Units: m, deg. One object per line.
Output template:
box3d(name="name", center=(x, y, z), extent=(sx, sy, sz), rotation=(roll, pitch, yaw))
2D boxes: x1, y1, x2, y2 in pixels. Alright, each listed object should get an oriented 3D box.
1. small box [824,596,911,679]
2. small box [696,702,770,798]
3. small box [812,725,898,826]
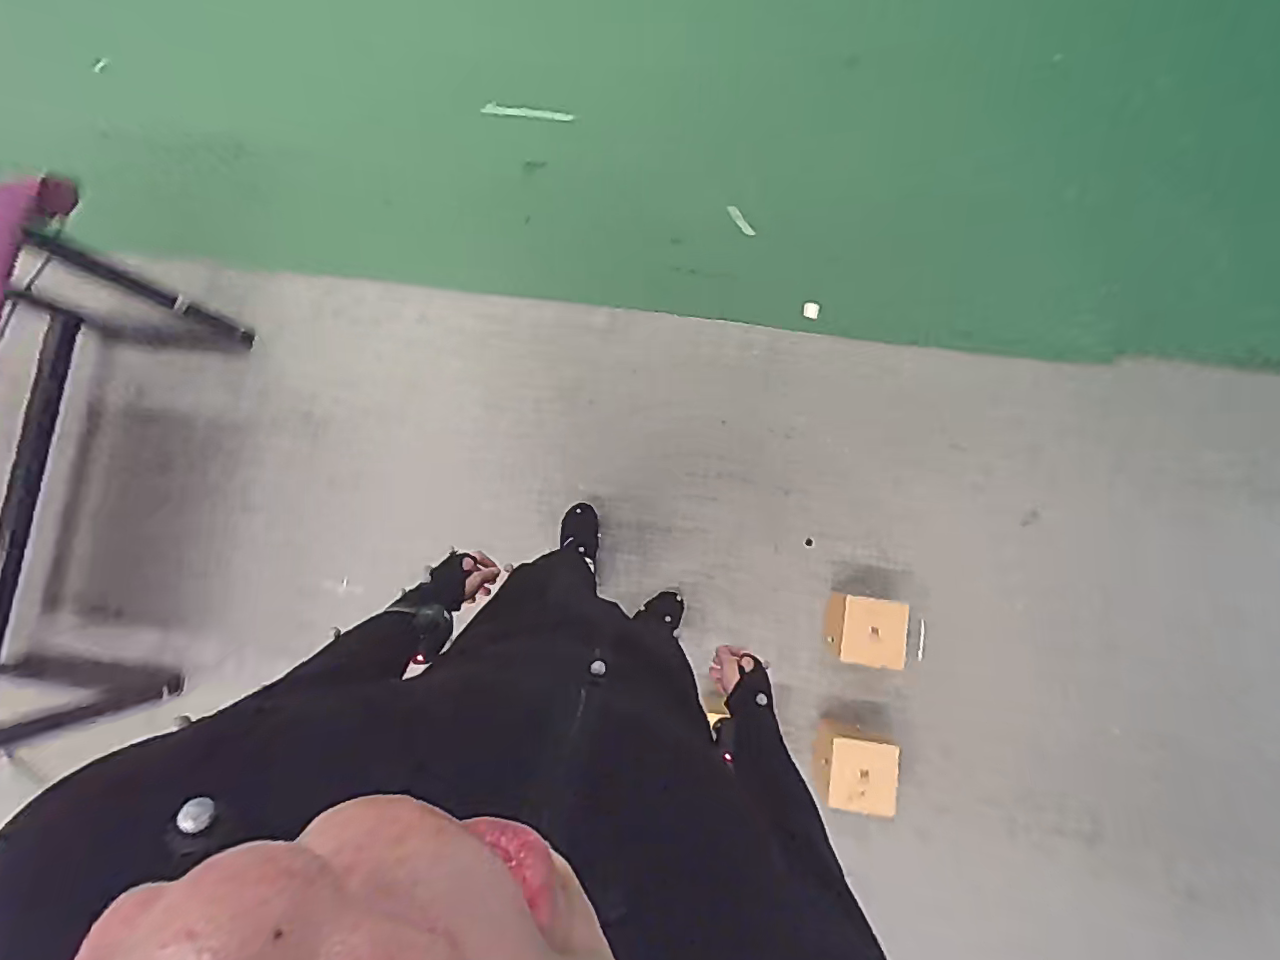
box3d(name="small box", center=(0.615, 0.424, 1.482), extent=(0.168, 0.176, 0.179), rotation=(9, 83, 4))
box3d(name="small box", center=(0.246, 0.723, 1.469), extent=(0.168, 0.176, 0.179), rotation=(8, 84, 4))
box3d(name="small box", center=(0.566, 0.776, 1.440), extent=(0.168, 0.176, 0.179), rotation=(8, 84, 5))
